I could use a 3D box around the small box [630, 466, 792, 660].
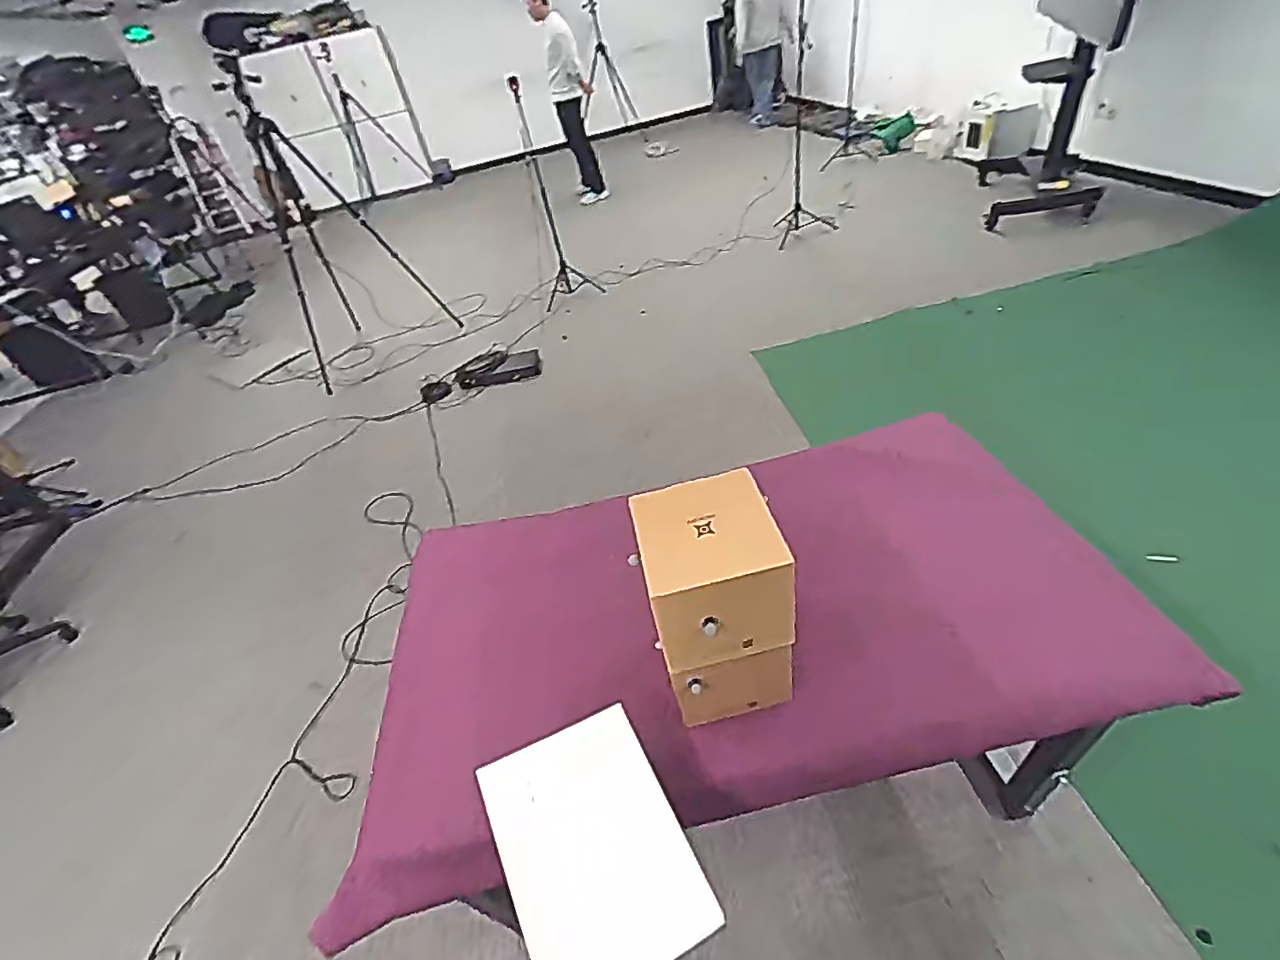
[{"bbox_3d":[0.093,0.113,0.707,0.168,0.176,0.179,-14,39,0],"label":"small box"}]
